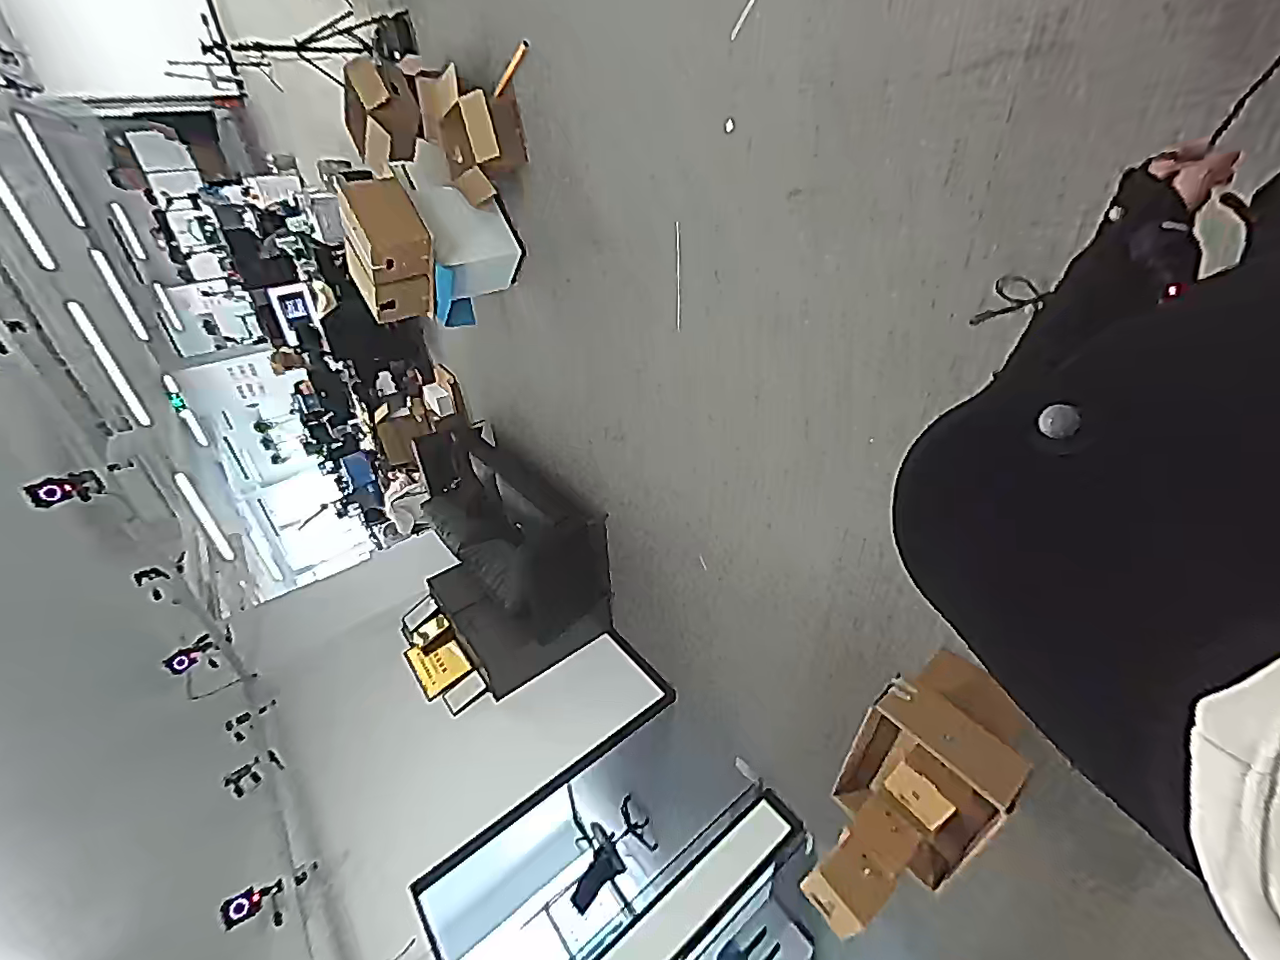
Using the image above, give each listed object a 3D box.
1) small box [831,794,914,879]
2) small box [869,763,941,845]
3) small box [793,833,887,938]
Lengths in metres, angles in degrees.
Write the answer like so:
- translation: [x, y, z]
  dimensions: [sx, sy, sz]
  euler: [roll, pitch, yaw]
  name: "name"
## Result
- translation: [0.716, 1.127, 1.674]
  dimensions: [0.168, 0.176, 0.179]
  euler: [36, 138, 41]
  name: "small box"
- translation: [0.843, 1.072, 1.758]
  dimensions: [0.168, 0.176, 0.179]
  euler: [36, 138, 39]
  name: "small box"
- translation: [0.589, 1.189, 1.590]
  dimensions: [0.168, 0.176, 0.179]
  euler: [44, 141, 33]
  name: "small box"
